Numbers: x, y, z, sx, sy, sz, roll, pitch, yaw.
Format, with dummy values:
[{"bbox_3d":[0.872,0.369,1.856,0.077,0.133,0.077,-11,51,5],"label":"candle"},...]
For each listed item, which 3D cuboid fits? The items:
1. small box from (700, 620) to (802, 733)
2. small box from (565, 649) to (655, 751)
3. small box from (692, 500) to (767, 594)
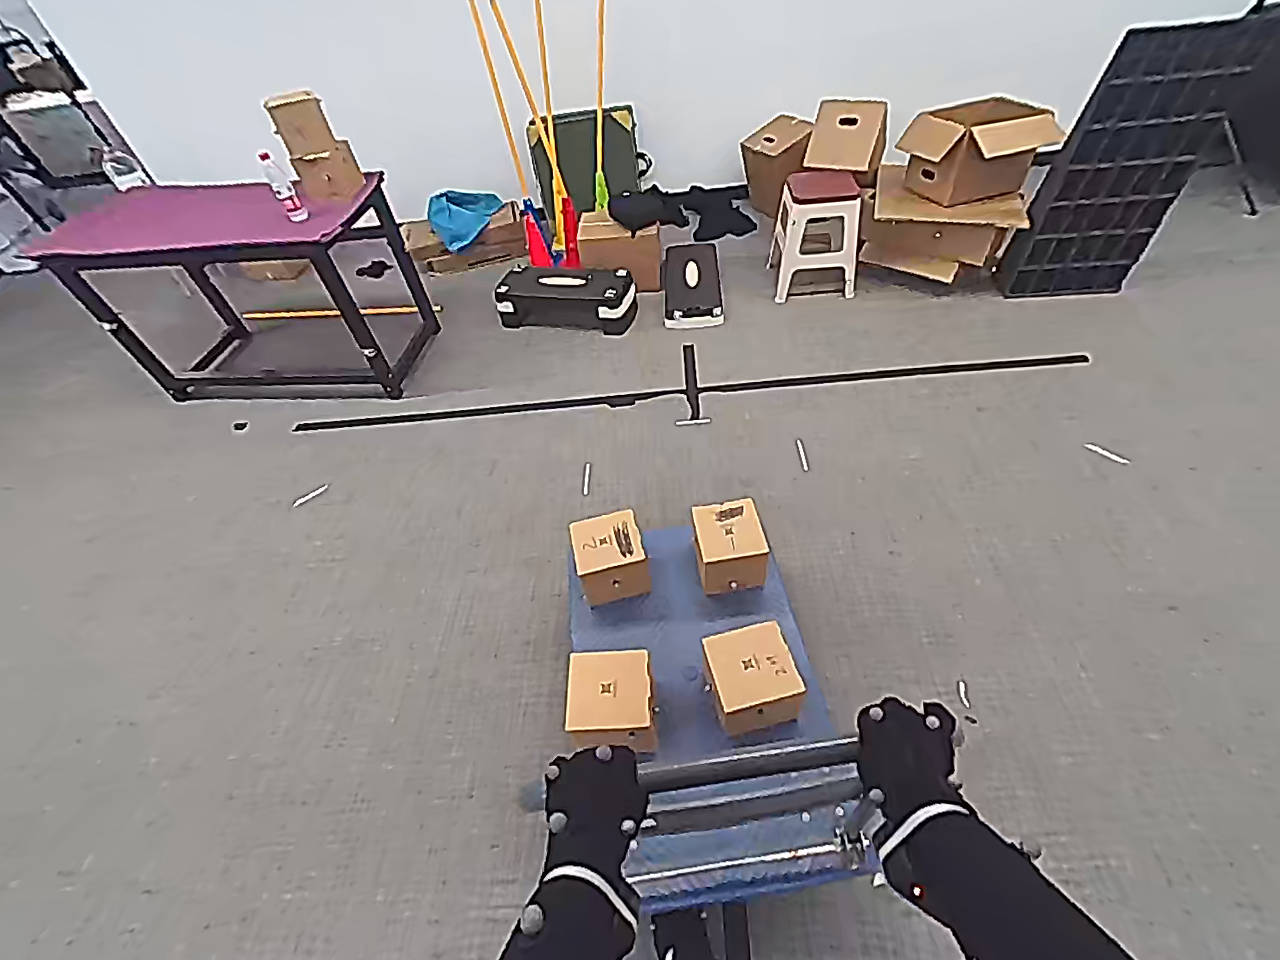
[{"bbox_3d":[0.242,0.444,1.209,0.179,0.176,0.168,-13,49,-4],"label":"small box"},{"bbox_3d":[-0.061,0.494,1.206,0.179,0.176,0.168,-4,48,2],"label":"small box"},{"bbox_3d":[0.232,0.180,1.443,0.168,0.176,0.179,-9,50,0],"label":"small box"}]
